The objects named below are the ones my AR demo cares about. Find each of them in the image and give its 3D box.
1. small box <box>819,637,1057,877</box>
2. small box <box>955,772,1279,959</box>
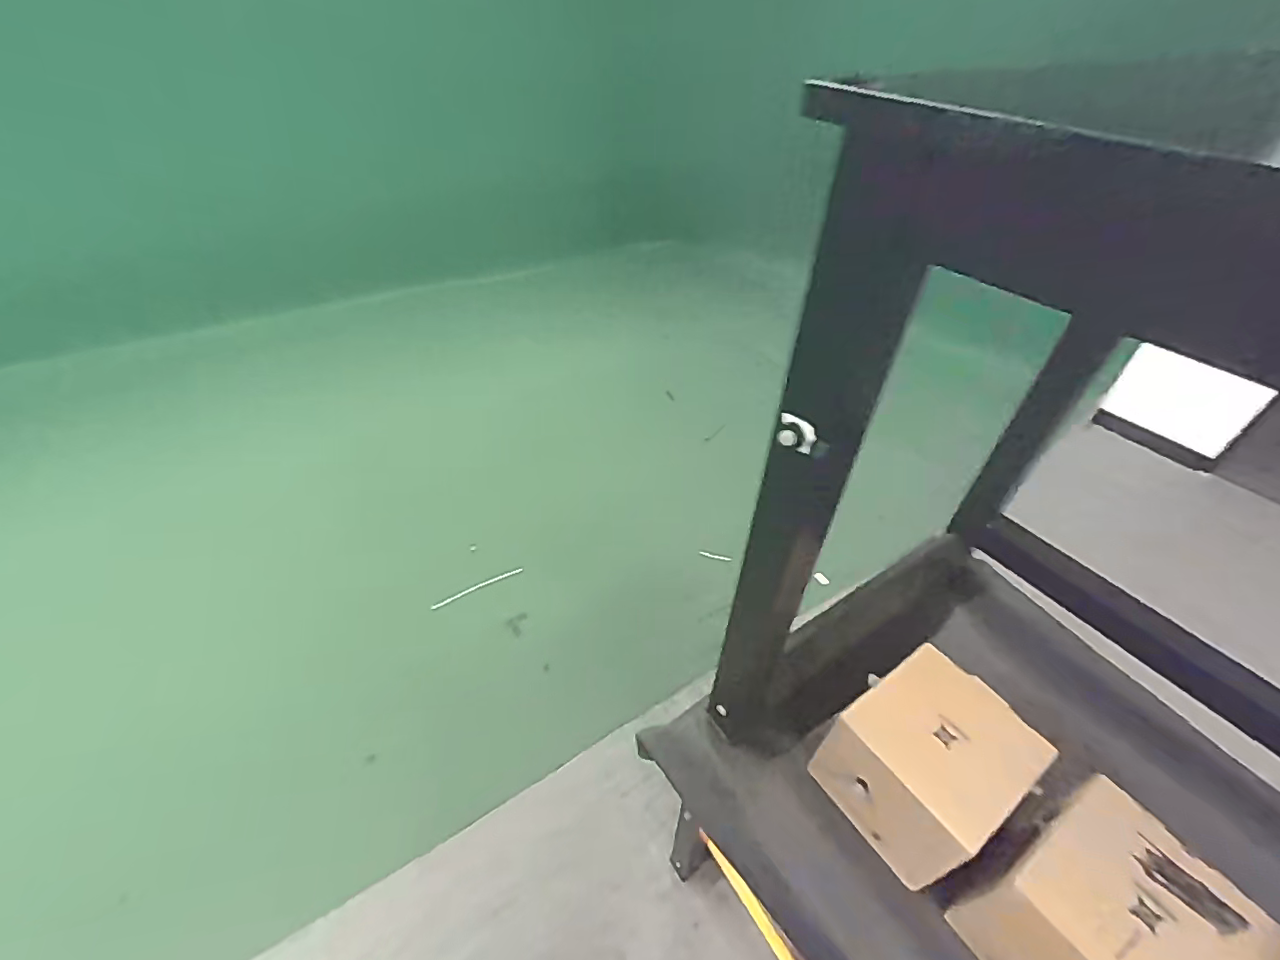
[{"bbox_3d":[0.341,0.335,0.657,0.179,0.176,0.168,-24,49,-26],"label":"small box"},{"bbox_3d":[0.461,0.443,0.544,0.179,0.176,0.168,-24,48,-24],"label":"small box"}]
